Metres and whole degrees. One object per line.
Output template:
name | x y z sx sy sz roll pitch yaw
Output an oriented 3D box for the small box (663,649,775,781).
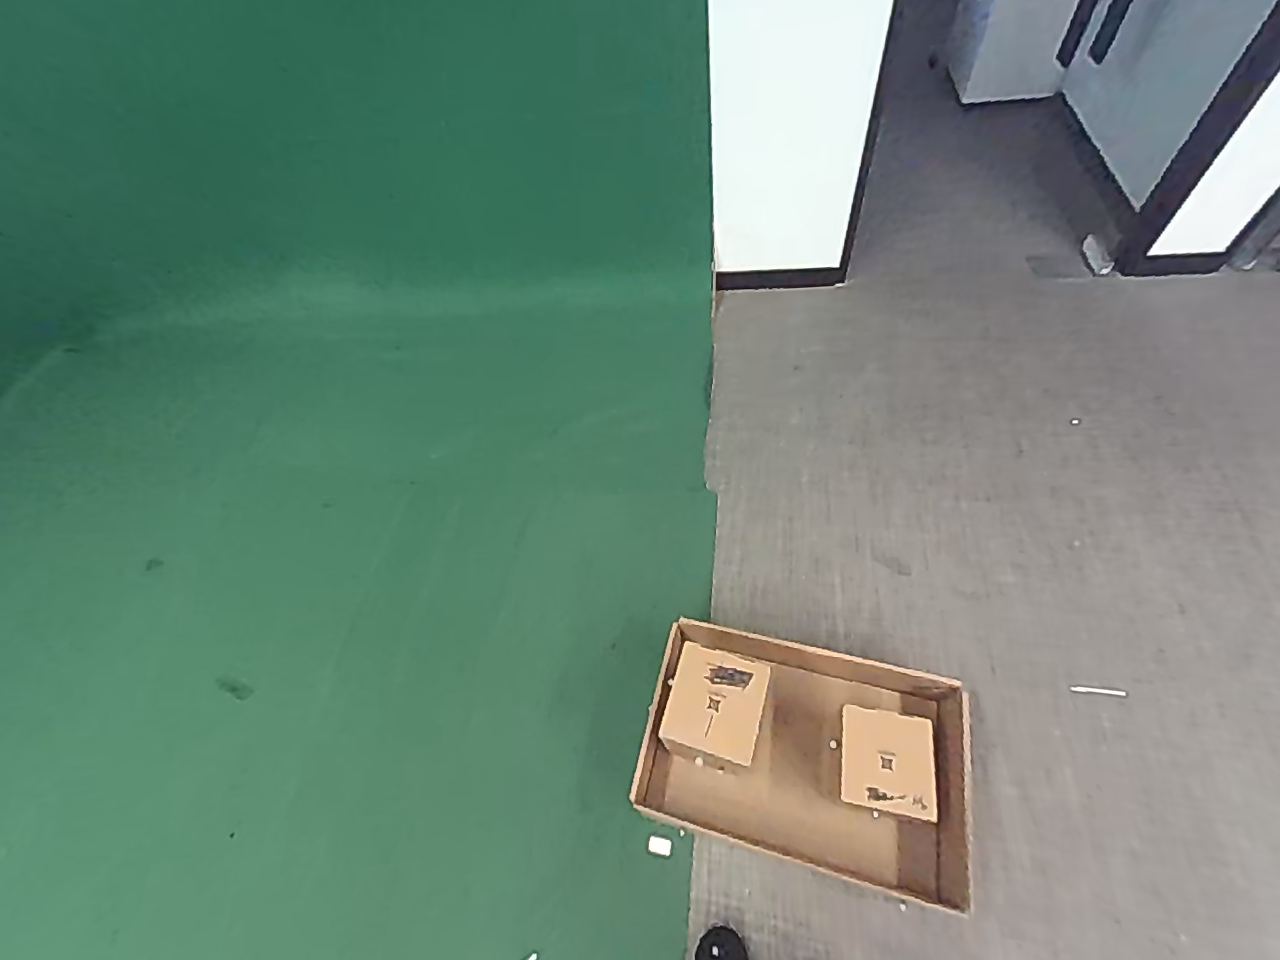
small box | 0.150 0.448 1.025 0.168 0.176 0.179 12 61 15
